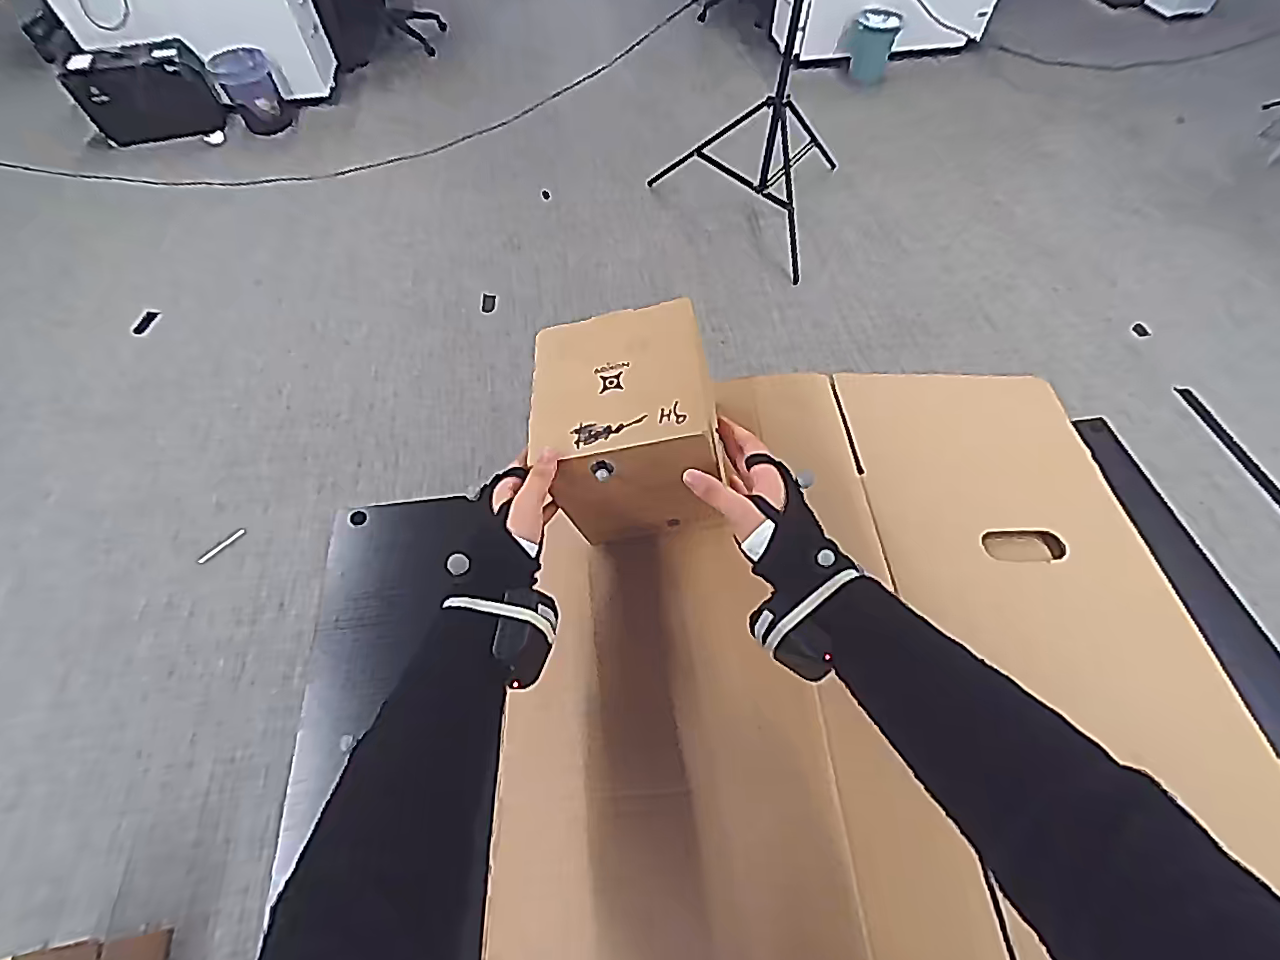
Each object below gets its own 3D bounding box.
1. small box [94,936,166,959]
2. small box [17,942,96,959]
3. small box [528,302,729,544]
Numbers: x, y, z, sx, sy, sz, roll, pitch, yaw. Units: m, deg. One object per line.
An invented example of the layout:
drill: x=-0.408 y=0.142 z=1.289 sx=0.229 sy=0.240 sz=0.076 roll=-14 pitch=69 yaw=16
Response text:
small box: x=-1.021 y=0.965 z=0.984 sx=0.168 sy=0.176 sz=0.179 roll=-11 pitch=59 yaw=-6
small box: x=-1.025 y=0.873 z=0.850 sx=0.168 sy=0.176 sz=0.179 roll=-13 pitch=58 yaw=-9
small box: x=-0.004 y=-0.053 z=0.577 sx=0.168 sy=0.176 sz=0.179 roll=-10 pitch=56 yaw=12
